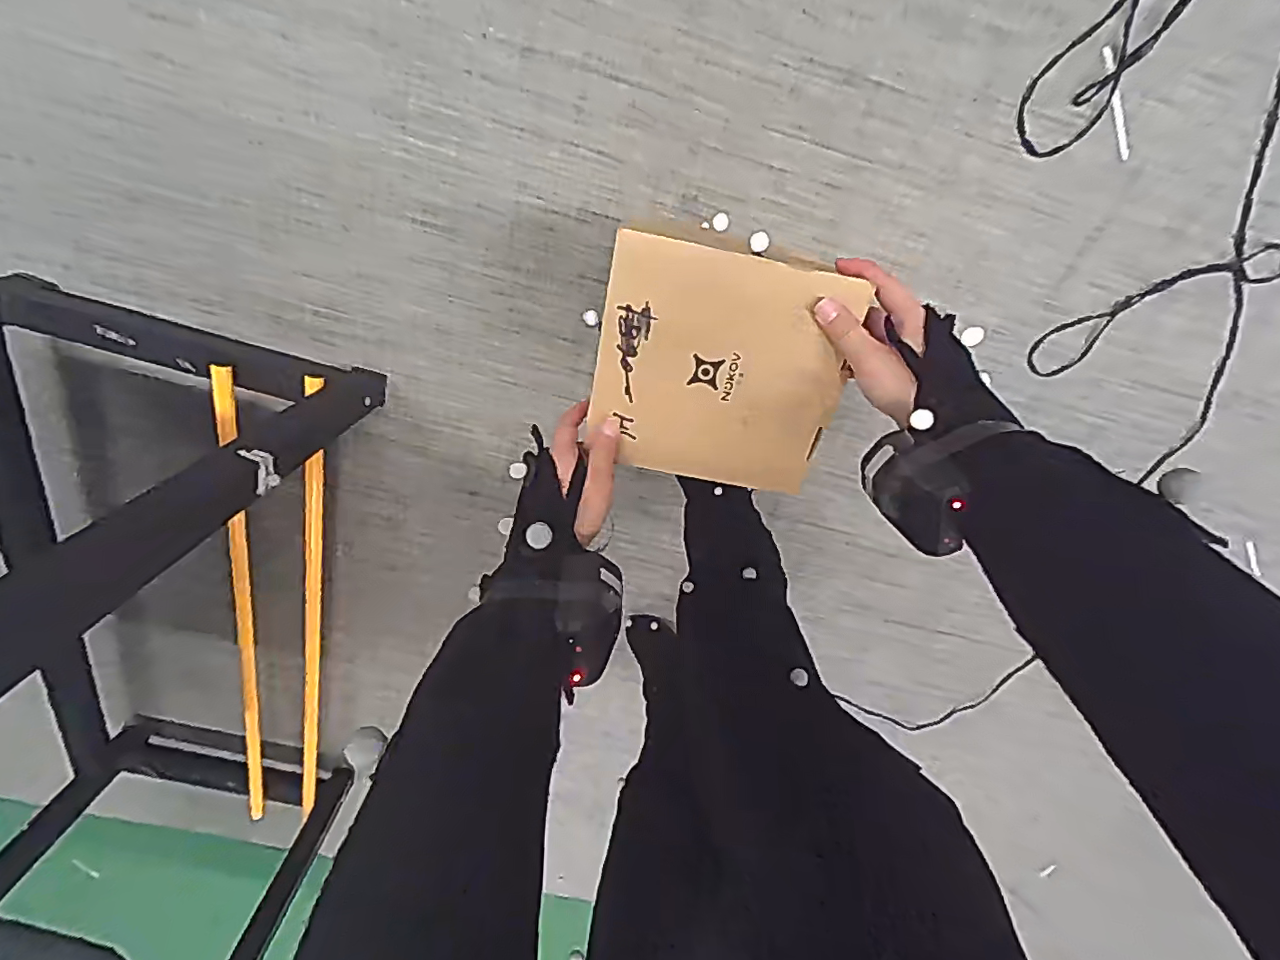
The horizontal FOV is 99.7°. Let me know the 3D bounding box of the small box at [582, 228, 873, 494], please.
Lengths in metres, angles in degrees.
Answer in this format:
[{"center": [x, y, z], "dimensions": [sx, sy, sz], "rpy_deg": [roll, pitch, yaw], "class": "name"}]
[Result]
[{"center": [0.055, -0.110, 0.458], "dimensions": [0.179, 0.176, 0.168], "rpy_deg": [11, 115, -5], "class": "small box"}]
